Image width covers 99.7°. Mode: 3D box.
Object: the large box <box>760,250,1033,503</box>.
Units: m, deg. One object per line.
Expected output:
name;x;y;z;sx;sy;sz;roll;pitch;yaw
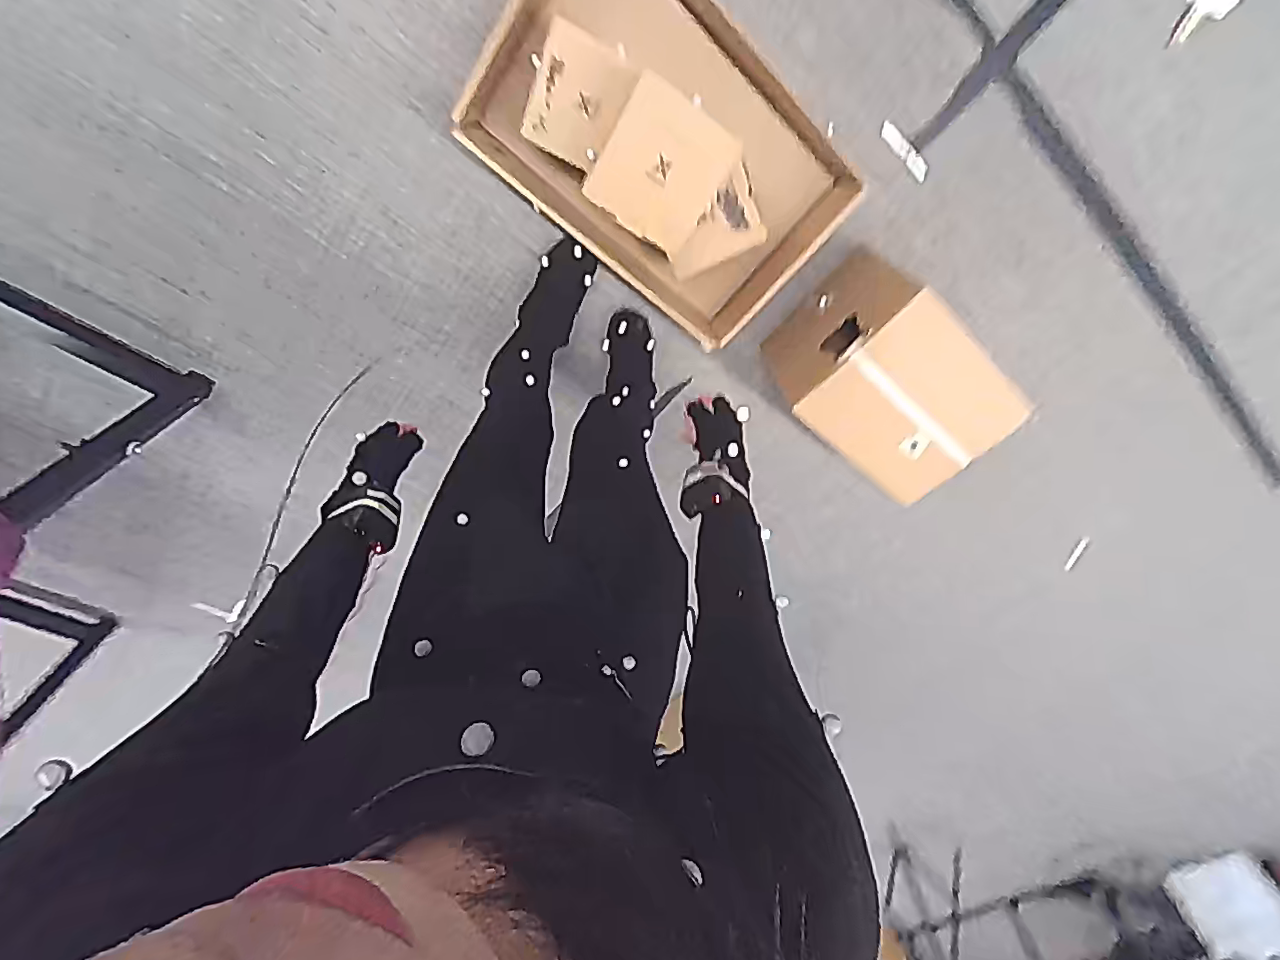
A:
large box;0.537;-0.227;1.195;0.408;0.320;0.320;33;119;-24

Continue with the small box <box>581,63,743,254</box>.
small box;0.027;-0.481;0.815;0.168;0.176;0.179;26;120;-20
